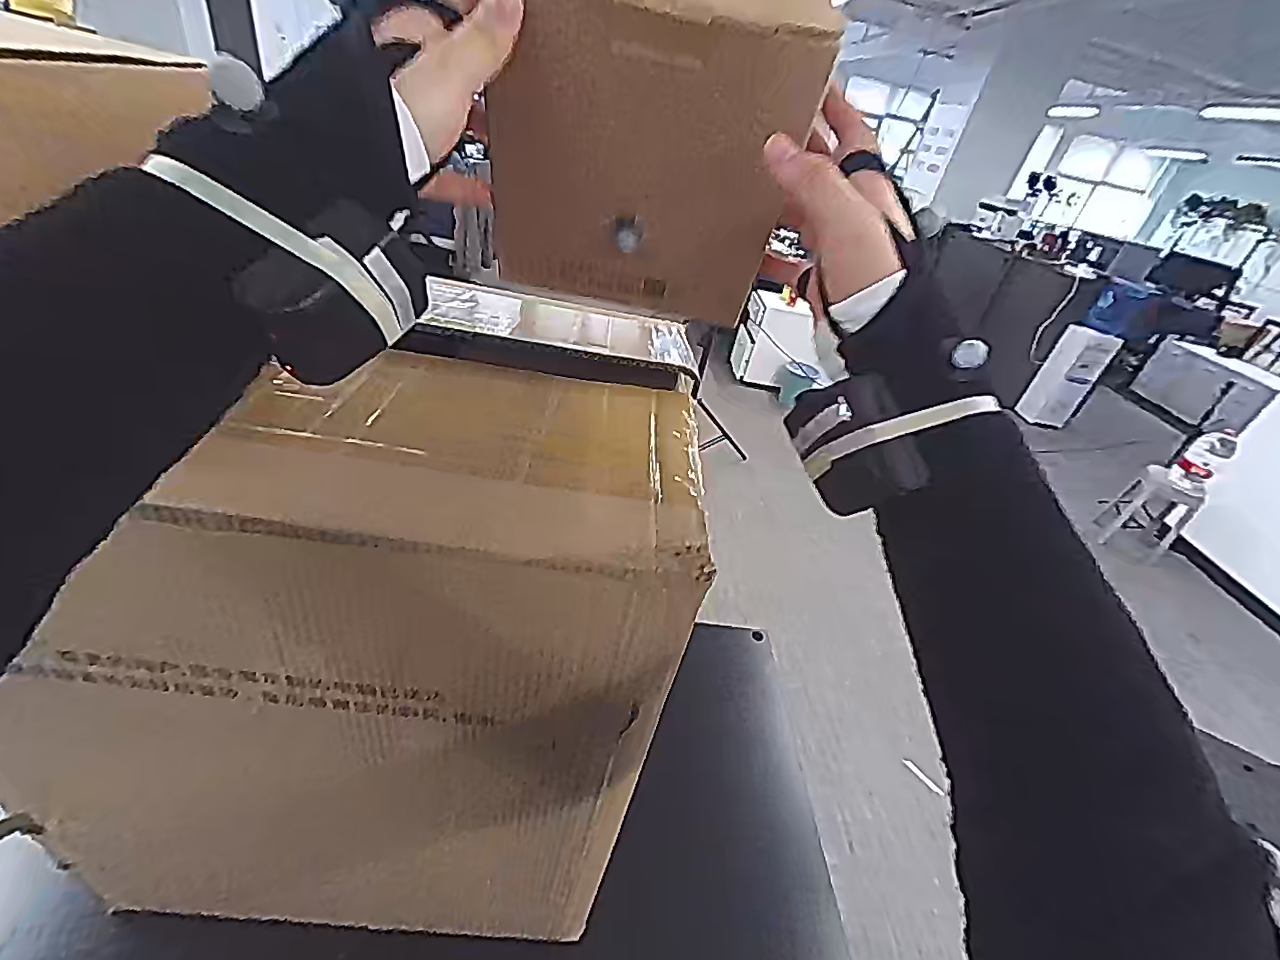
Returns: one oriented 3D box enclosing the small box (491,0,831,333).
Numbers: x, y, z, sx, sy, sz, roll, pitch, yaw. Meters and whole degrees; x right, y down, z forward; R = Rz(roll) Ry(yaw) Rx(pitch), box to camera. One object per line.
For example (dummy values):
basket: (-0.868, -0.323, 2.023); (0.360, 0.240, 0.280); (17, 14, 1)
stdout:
small box: (0.006, -0.229, 0.361); (0.168, 0.176, 0.179); (9, 55, -3)

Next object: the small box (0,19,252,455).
small box: (-0.344, -0.138, 0.287); (0.168, 0.176, 0.179); (9, 36, -8)
